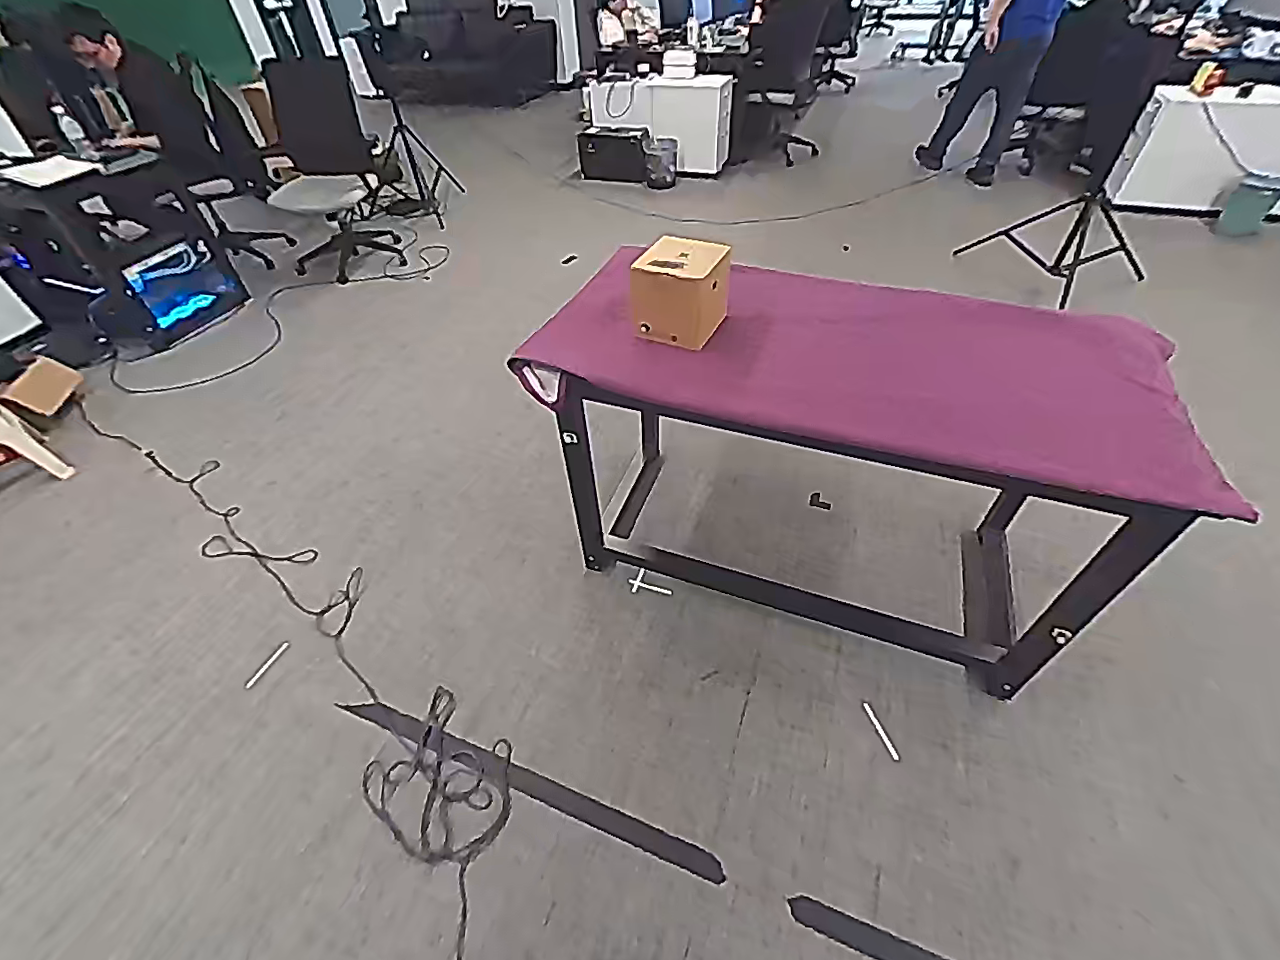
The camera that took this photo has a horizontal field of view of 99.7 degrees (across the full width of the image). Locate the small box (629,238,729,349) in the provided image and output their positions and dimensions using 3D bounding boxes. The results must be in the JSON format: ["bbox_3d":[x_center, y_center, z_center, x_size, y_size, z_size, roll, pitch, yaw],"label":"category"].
[{"bbox_3d":[0.090,-0.418,1.219,0.168,0.176,0.179,19,49,19],"label":"small box"}]
